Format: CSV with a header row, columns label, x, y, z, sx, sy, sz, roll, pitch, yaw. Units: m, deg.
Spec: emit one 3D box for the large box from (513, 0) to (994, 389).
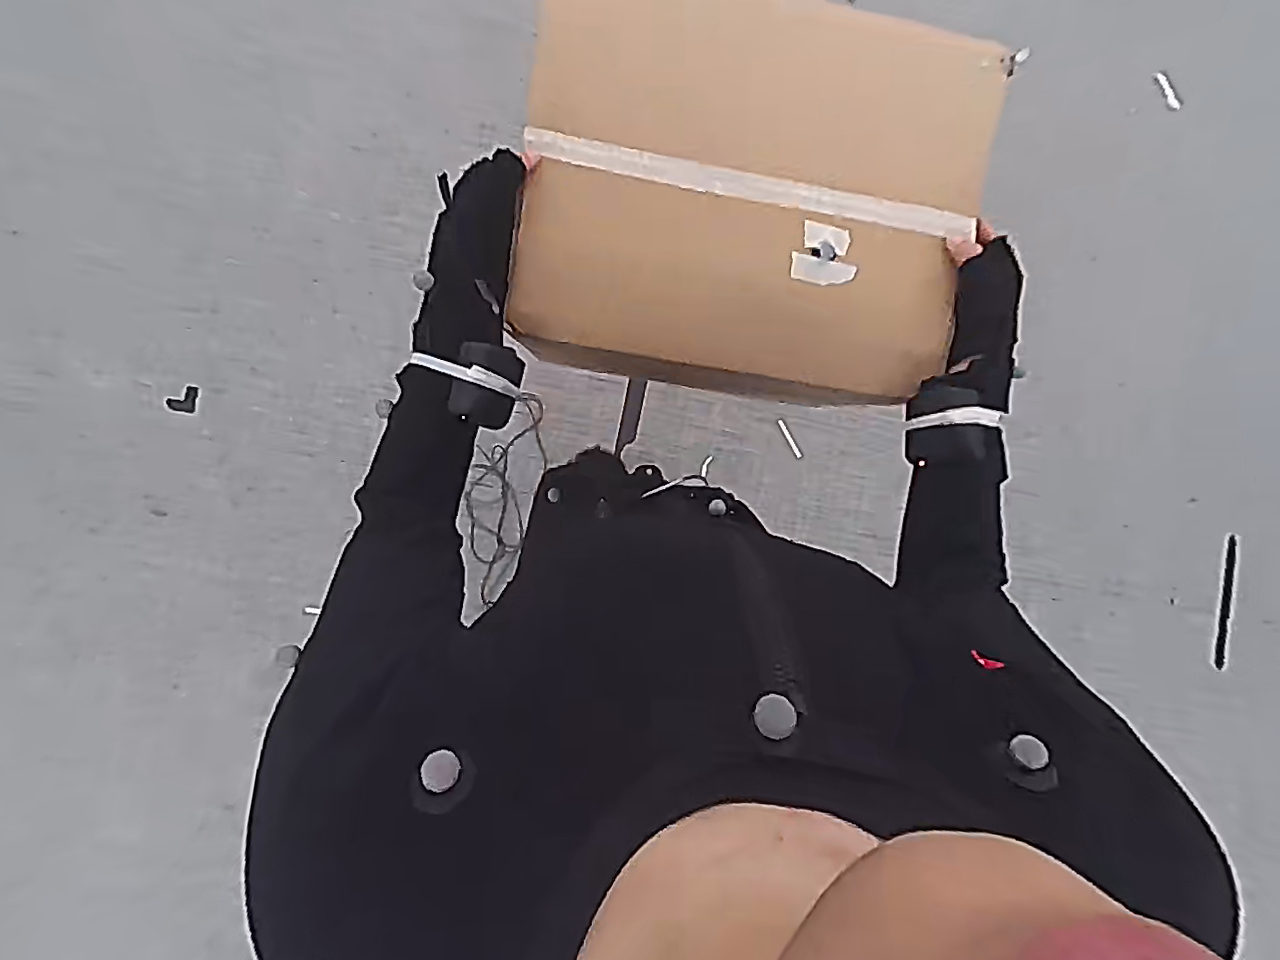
label,x,y,z,sx,sy,sz,roll,pitch,yaw
large box,0.086,-0.288,0.626,0.408,0.320,0.320,8,99,-7
